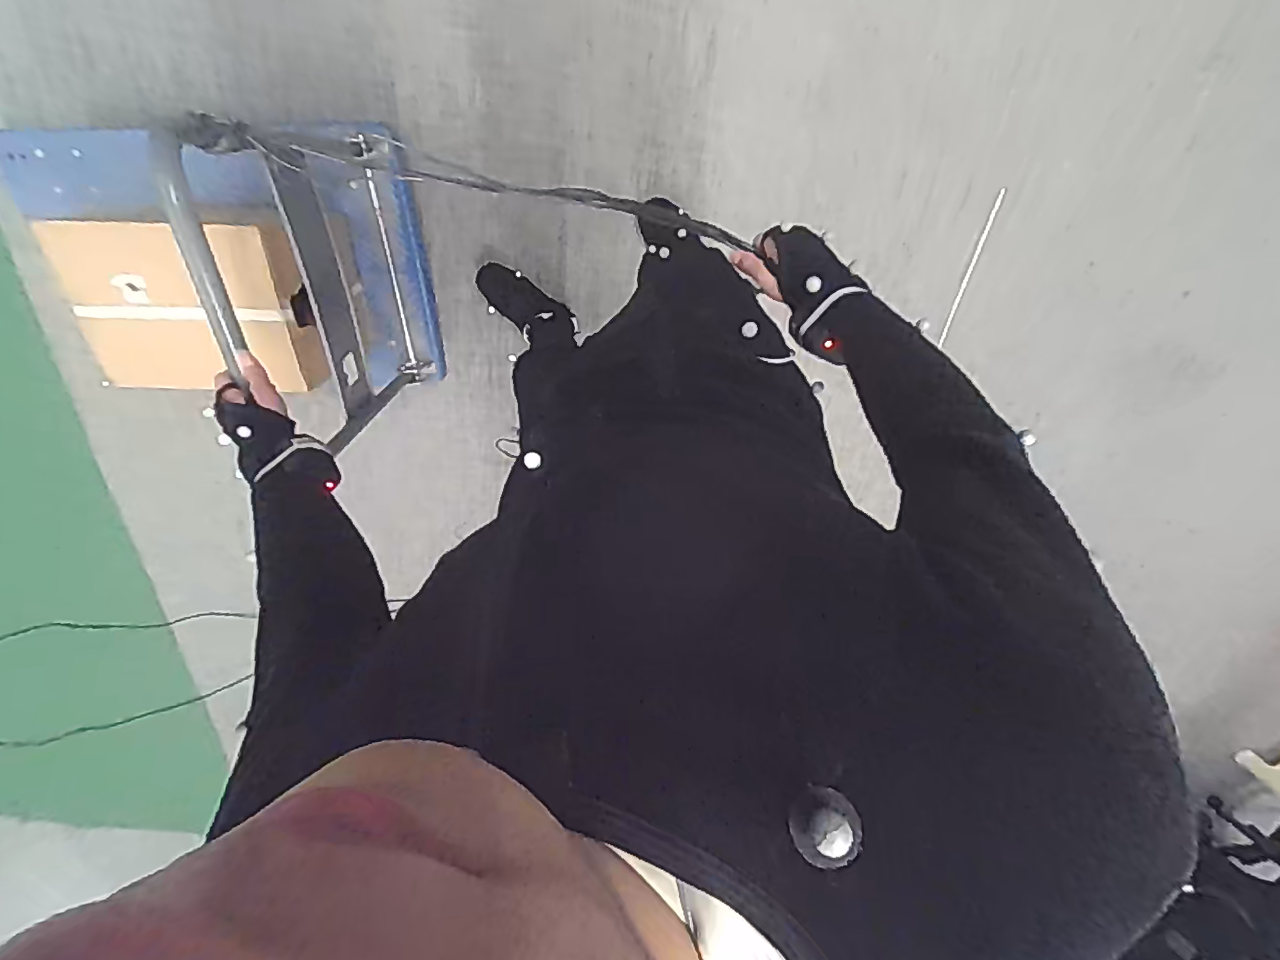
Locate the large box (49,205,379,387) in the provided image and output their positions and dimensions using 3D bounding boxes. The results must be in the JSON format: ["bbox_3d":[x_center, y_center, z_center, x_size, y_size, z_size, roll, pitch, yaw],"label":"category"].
[{"bbox_3d":[-0.851,-0.405,1.159,0.408,0.320,0.320,2,121,1],"label":"large box"}]
